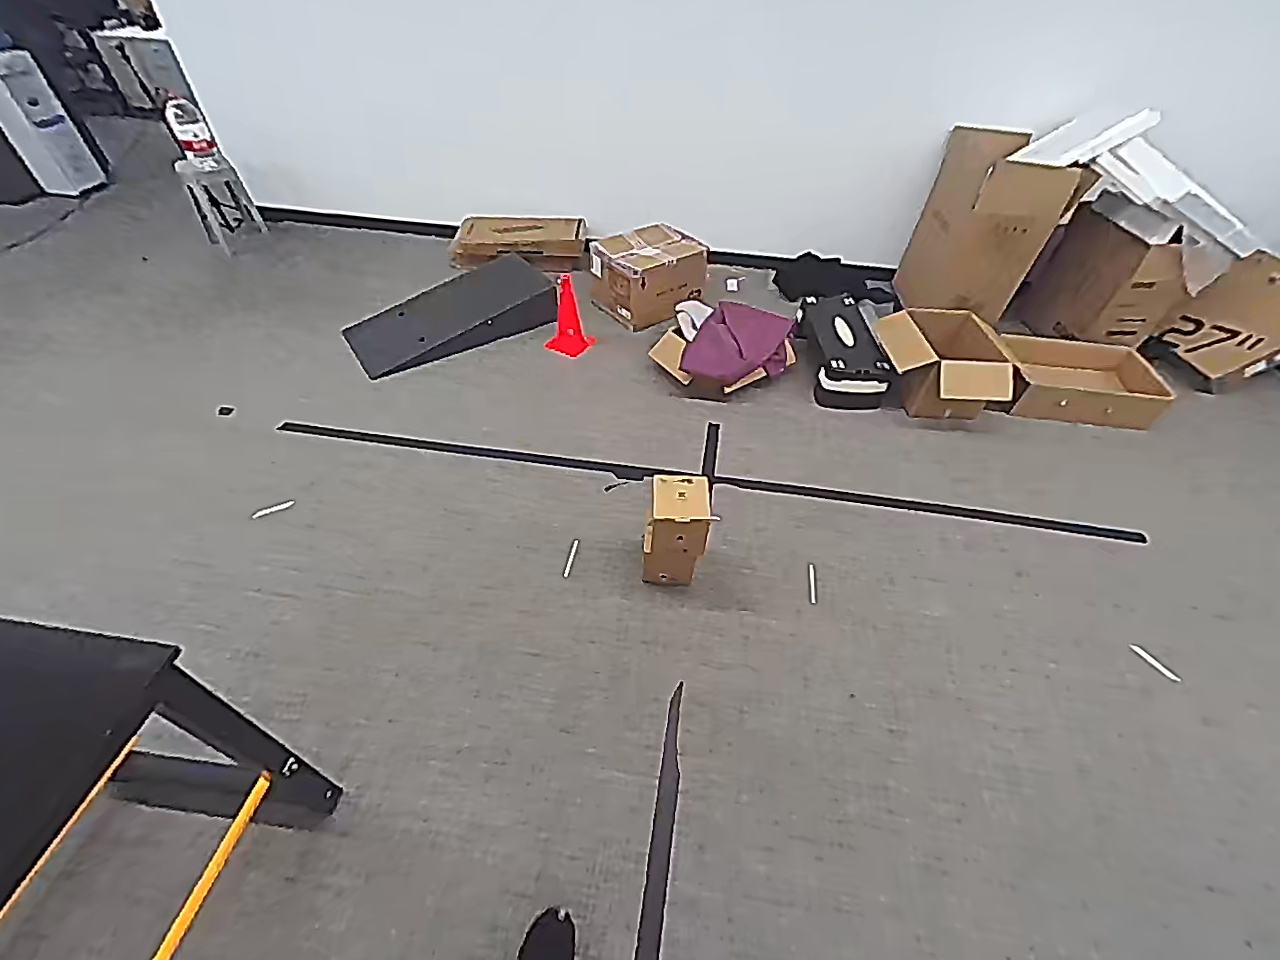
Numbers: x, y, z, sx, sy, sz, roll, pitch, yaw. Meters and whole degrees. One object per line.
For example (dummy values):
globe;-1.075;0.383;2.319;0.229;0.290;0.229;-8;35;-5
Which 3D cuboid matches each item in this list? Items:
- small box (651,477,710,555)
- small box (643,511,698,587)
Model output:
small box;0.120;0.112;1.635;0.168;0.176;0.179;2;46;1
small box;0.098;0.224;1.755;0.168;0.176;0.179;2;47;1
